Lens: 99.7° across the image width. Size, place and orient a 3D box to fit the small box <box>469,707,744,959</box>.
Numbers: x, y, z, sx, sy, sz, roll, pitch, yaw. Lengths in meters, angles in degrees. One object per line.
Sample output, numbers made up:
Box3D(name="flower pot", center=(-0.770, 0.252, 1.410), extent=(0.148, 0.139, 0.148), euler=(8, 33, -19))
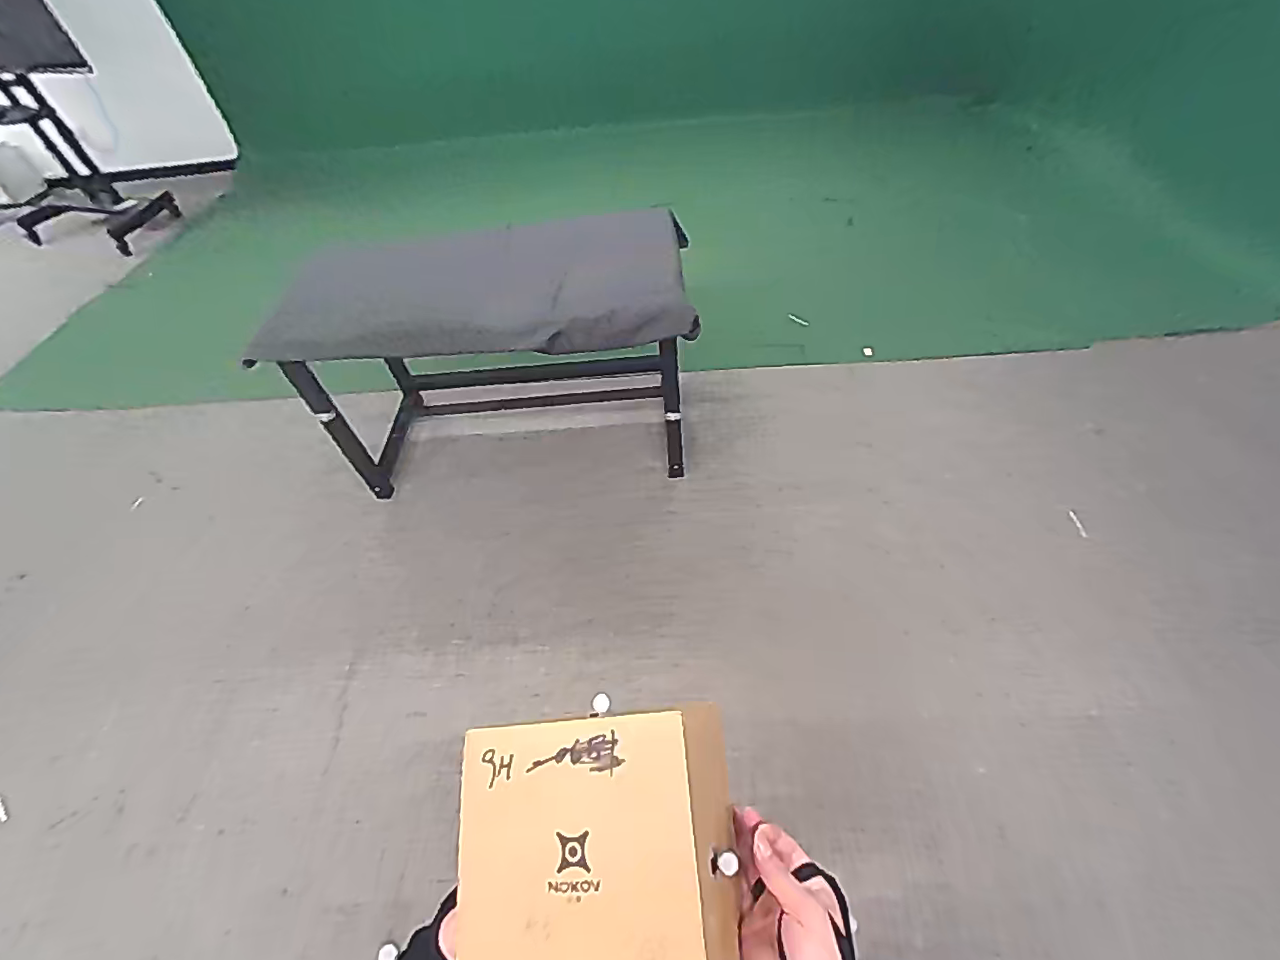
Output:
Box3D(name="small box", center=(-0.016, 0.285, 0.428), extent=(0.168, 0.176, 0.179), euler=(-10, 68, 12))
